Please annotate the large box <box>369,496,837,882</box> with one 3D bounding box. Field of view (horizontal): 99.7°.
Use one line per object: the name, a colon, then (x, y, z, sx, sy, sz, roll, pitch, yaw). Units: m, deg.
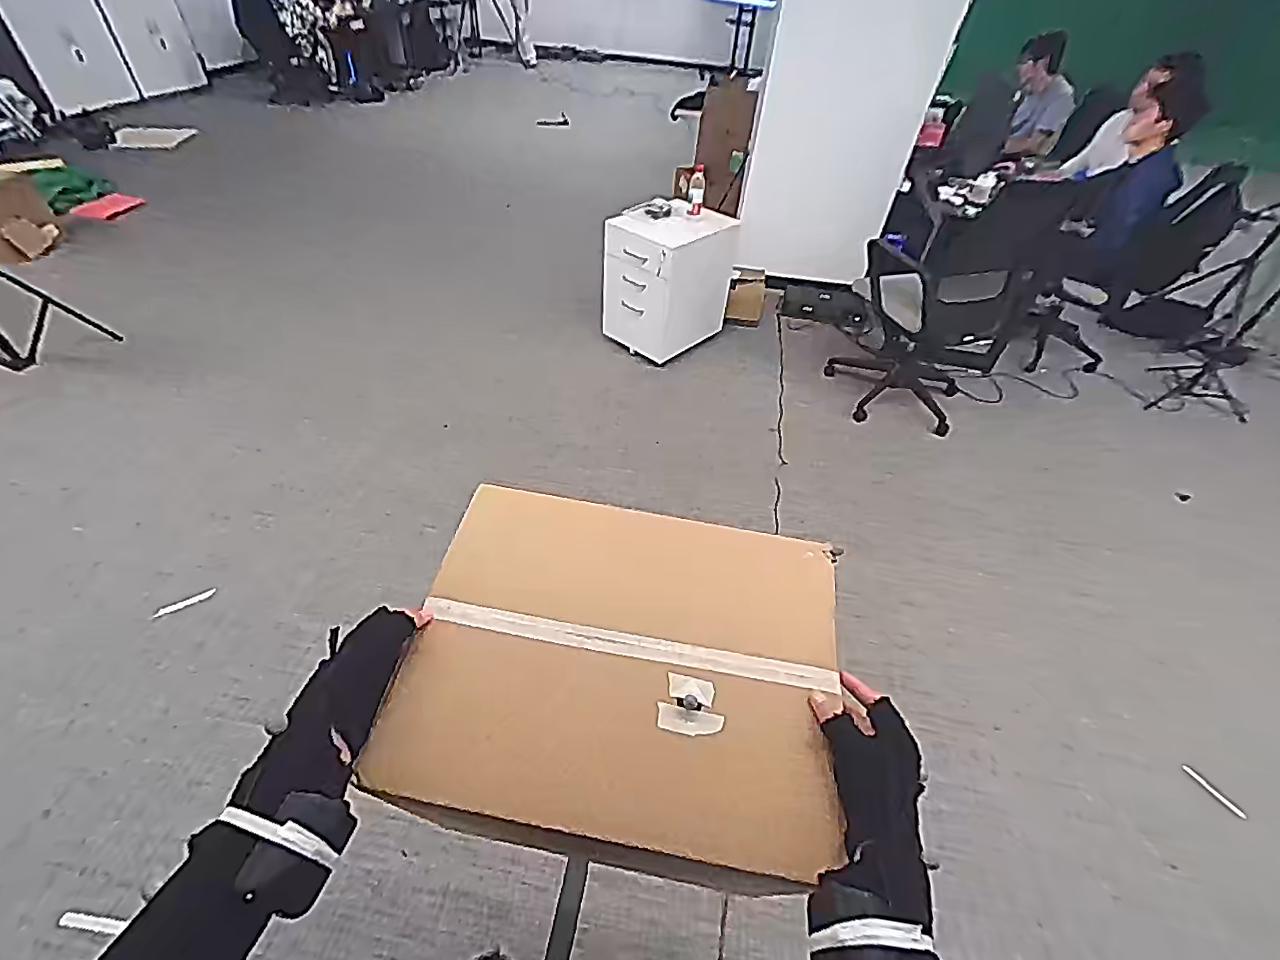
large box: (-0.023, 0.257, 0.652, 0.408, 0.320, 0.320, 10, 53, 3)
